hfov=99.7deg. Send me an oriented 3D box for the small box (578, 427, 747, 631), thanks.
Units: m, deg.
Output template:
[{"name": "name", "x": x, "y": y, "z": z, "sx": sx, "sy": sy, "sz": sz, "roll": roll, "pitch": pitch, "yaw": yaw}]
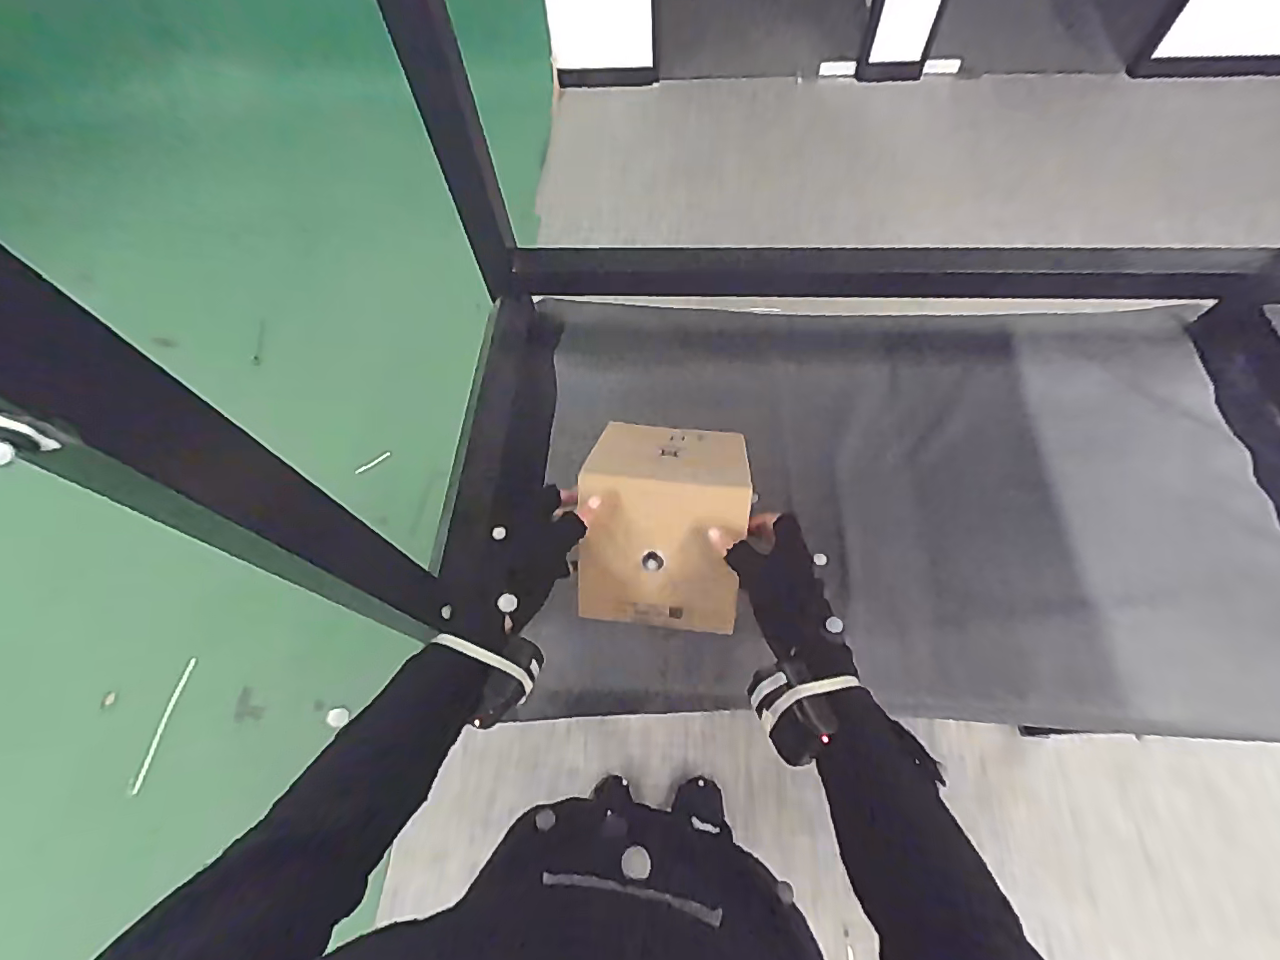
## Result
[{"name": "small box", "x": 0.029, "y": 0.050, "z": 0.620, "sx": 0.168, "sy": 0.176, "sz": 0.179, "roll": 6, "pitch": 23, "yaw": 5}]
